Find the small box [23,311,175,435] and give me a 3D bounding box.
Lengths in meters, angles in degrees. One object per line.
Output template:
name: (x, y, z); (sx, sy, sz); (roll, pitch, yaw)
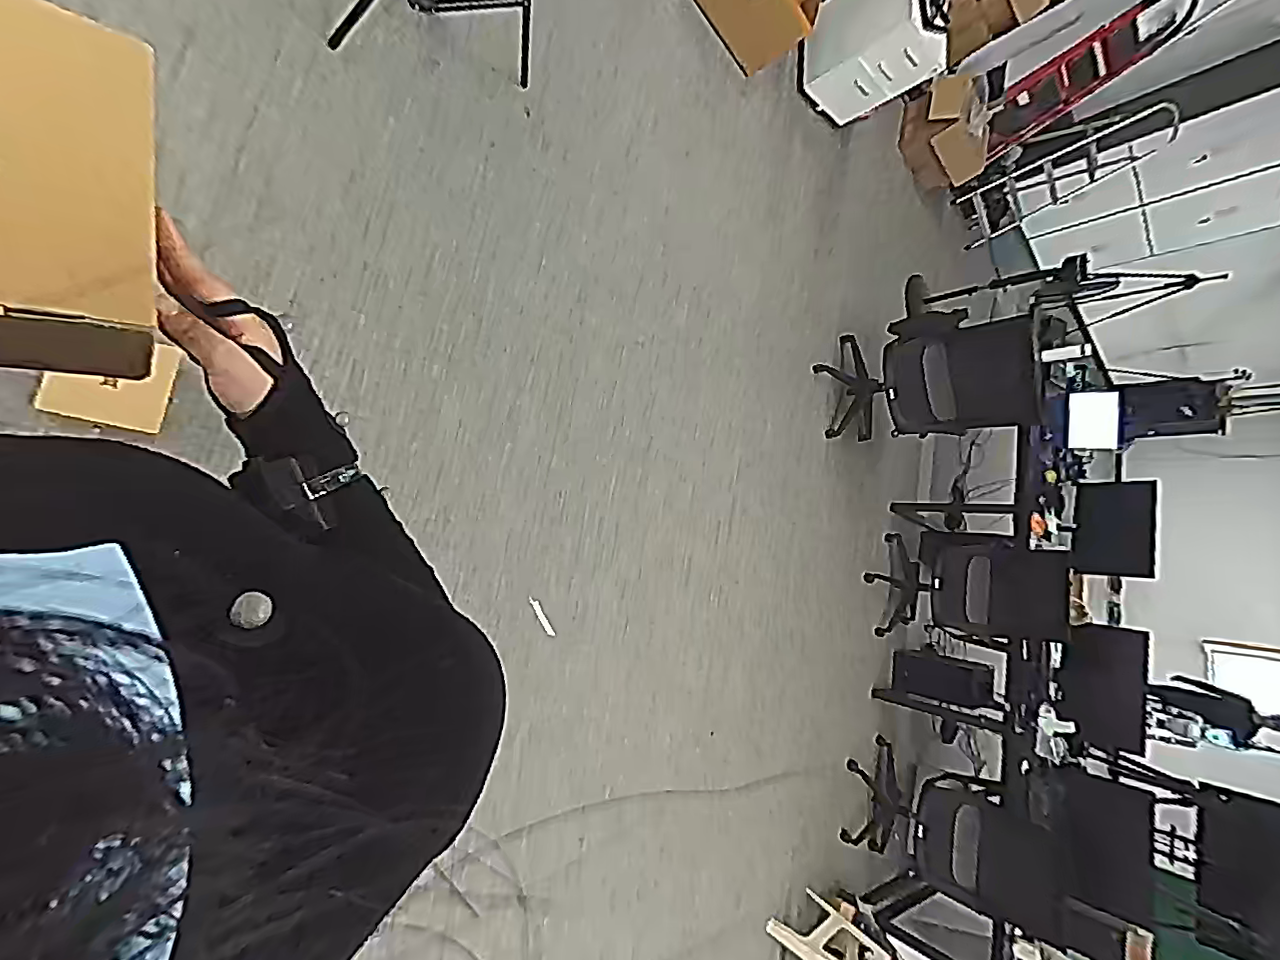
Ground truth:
small box: (-1.019, -0.191, 1.034); (0.168, 0.176, 0.179); (17, 77, -41)
